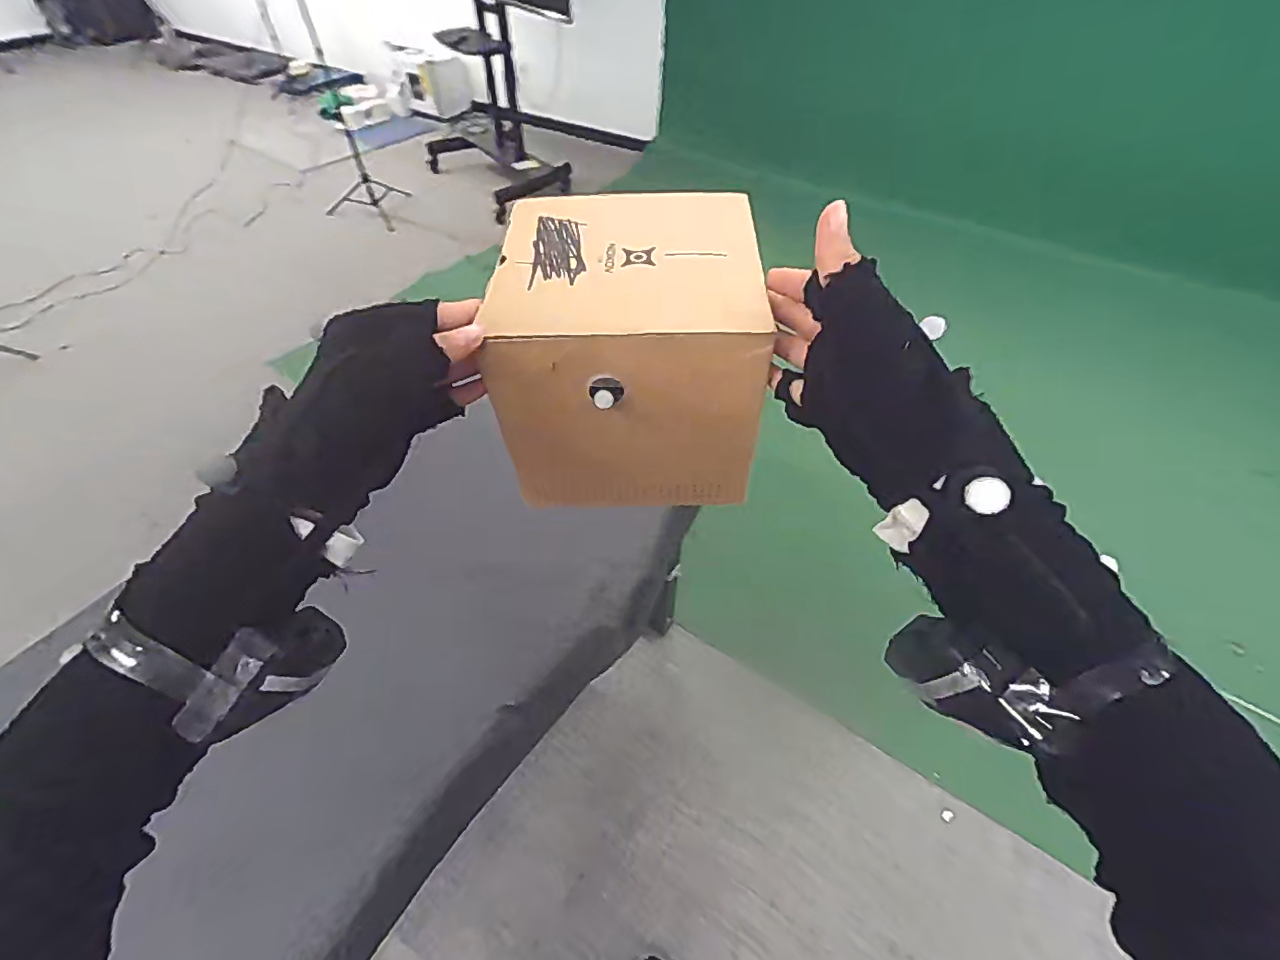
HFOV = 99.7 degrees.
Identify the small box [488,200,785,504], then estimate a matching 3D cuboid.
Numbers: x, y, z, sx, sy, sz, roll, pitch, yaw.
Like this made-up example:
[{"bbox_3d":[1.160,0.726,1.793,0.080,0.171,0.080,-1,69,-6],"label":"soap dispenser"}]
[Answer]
[{"bbox_3d":[0.004,-0.094,0.421,0.179,0.176,0.168,1,53,3],"label":"small box"}]
